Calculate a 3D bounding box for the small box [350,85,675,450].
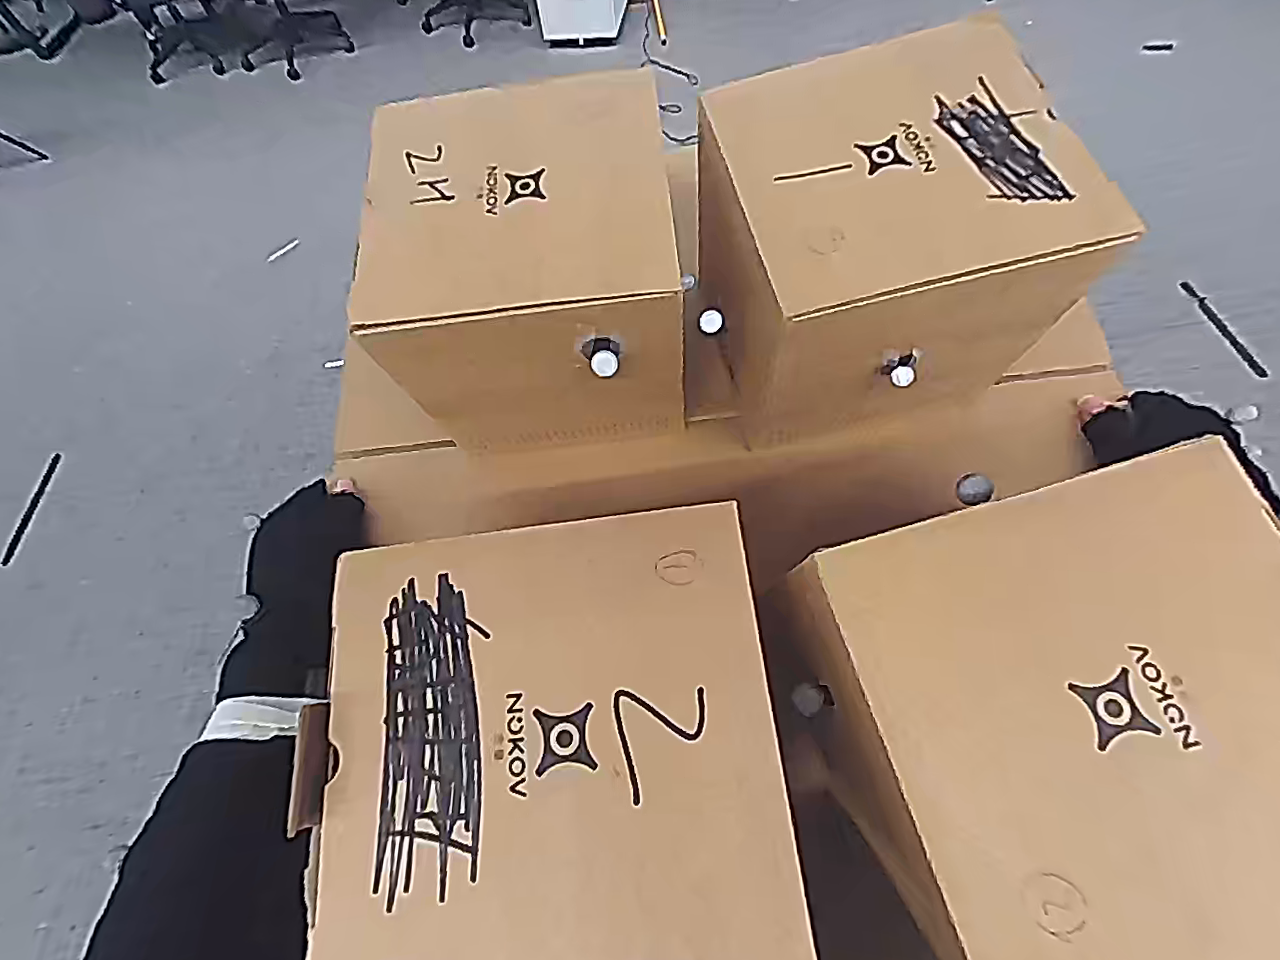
[{"bbox_3d":[-0.067,-0.132,0.386,0.179,0.176,0.168,-5,69,4],"label":"small box"}]
